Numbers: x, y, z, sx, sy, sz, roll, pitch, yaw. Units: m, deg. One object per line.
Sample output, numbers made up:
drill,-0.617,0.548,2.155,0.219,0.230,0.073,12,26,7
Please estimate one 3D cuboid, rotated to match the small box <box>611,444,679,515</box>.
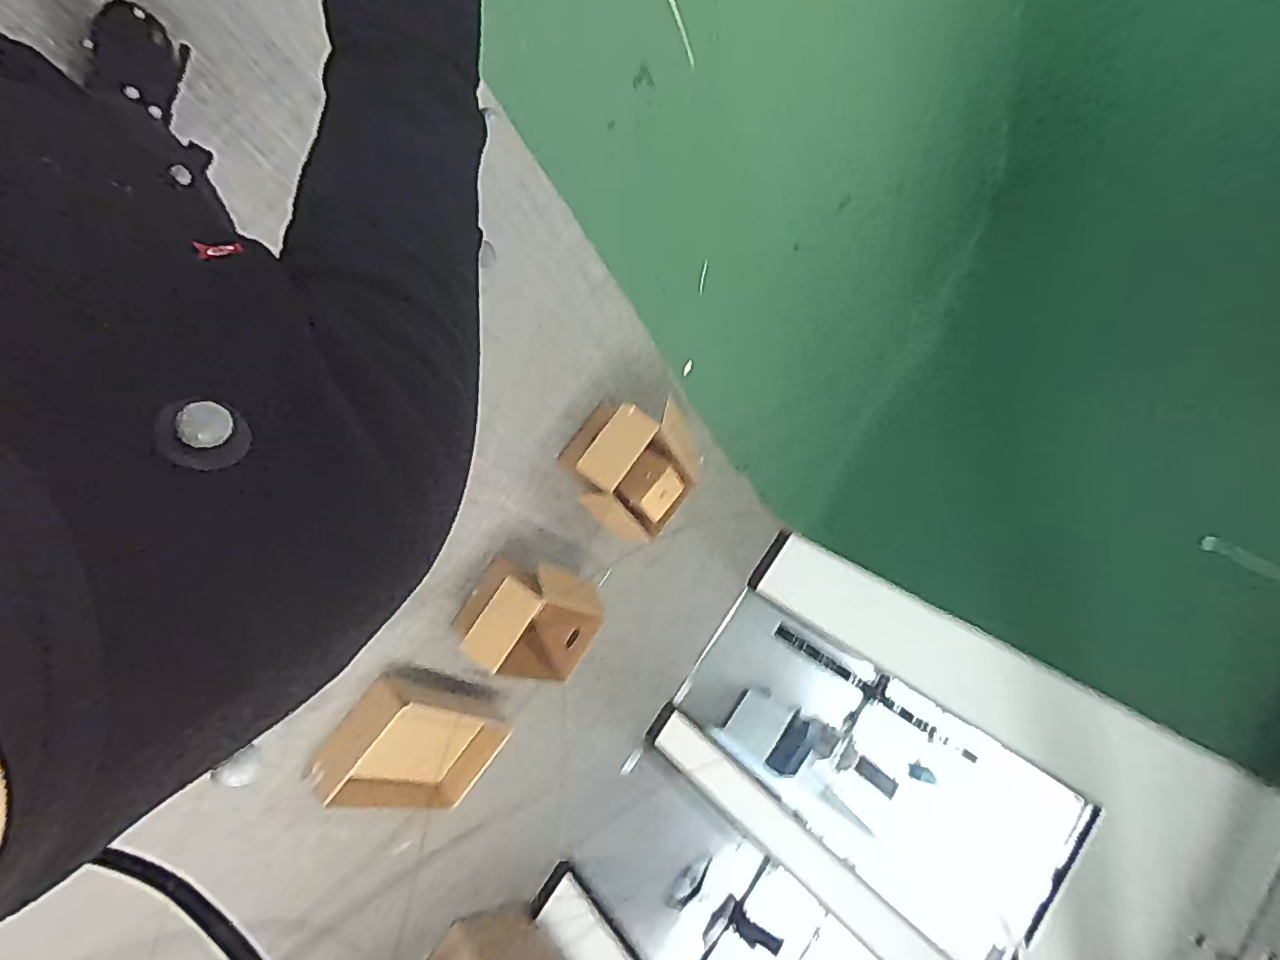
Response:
small box,0.011,-0.003,2.048,0.179,0.176,0.168,-51,143,-11
